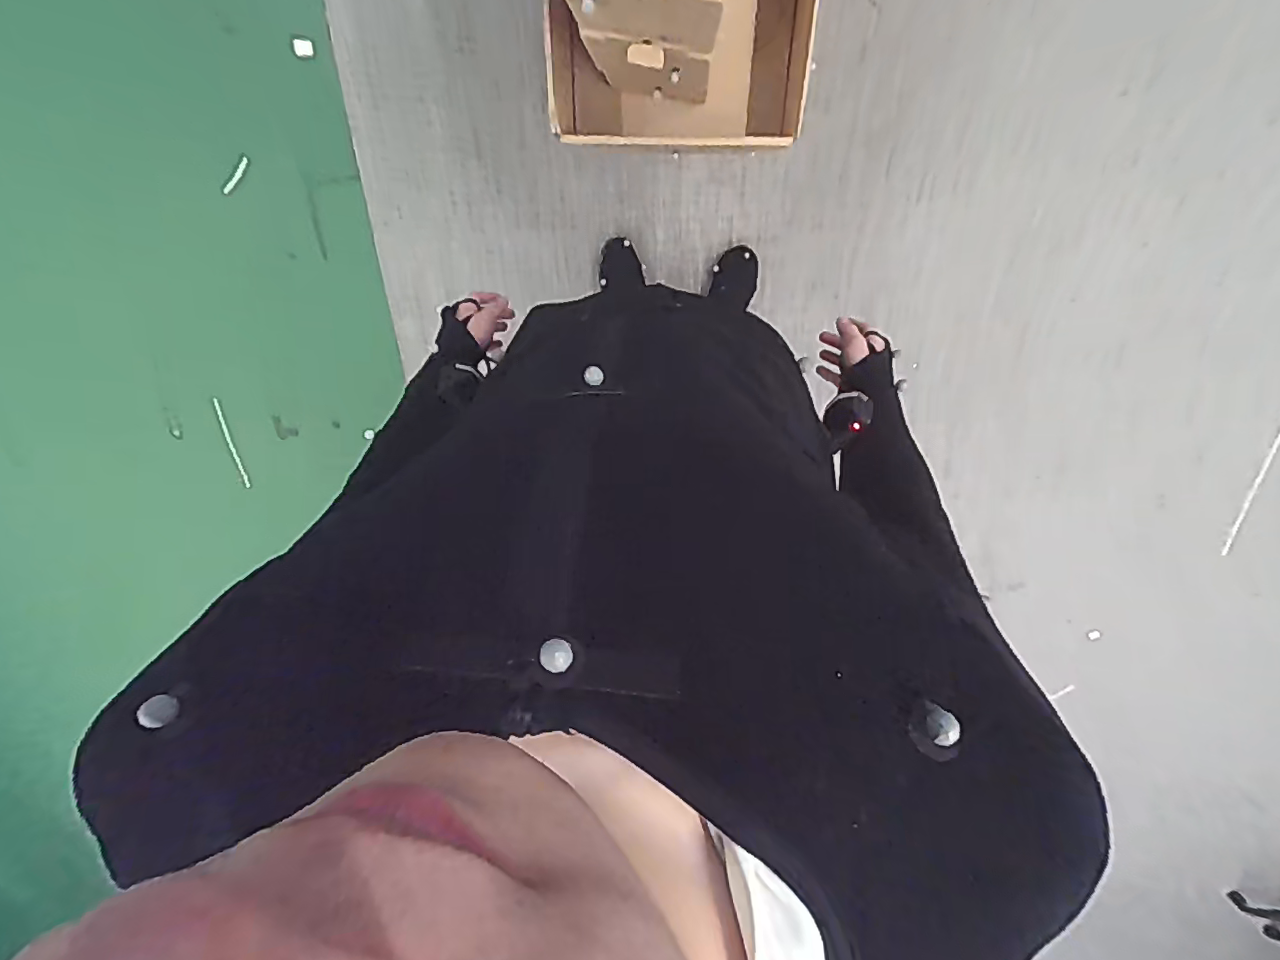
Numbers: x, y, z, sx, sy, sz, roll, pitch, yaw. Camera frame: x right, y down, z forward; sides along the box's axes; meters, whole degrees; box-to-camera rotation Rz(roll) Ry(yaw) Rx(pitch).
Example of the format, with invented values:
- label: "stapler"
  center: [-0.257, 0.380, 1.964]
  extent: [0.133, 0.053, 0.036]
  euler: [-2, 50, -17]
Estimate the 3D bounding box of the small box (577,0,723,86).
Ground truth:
- label: "small box"
  center: [0.024, -0.629, 0.682]
  extent: [0.168, 0.176, 0.179]
  euler: [10, 115, -1]
